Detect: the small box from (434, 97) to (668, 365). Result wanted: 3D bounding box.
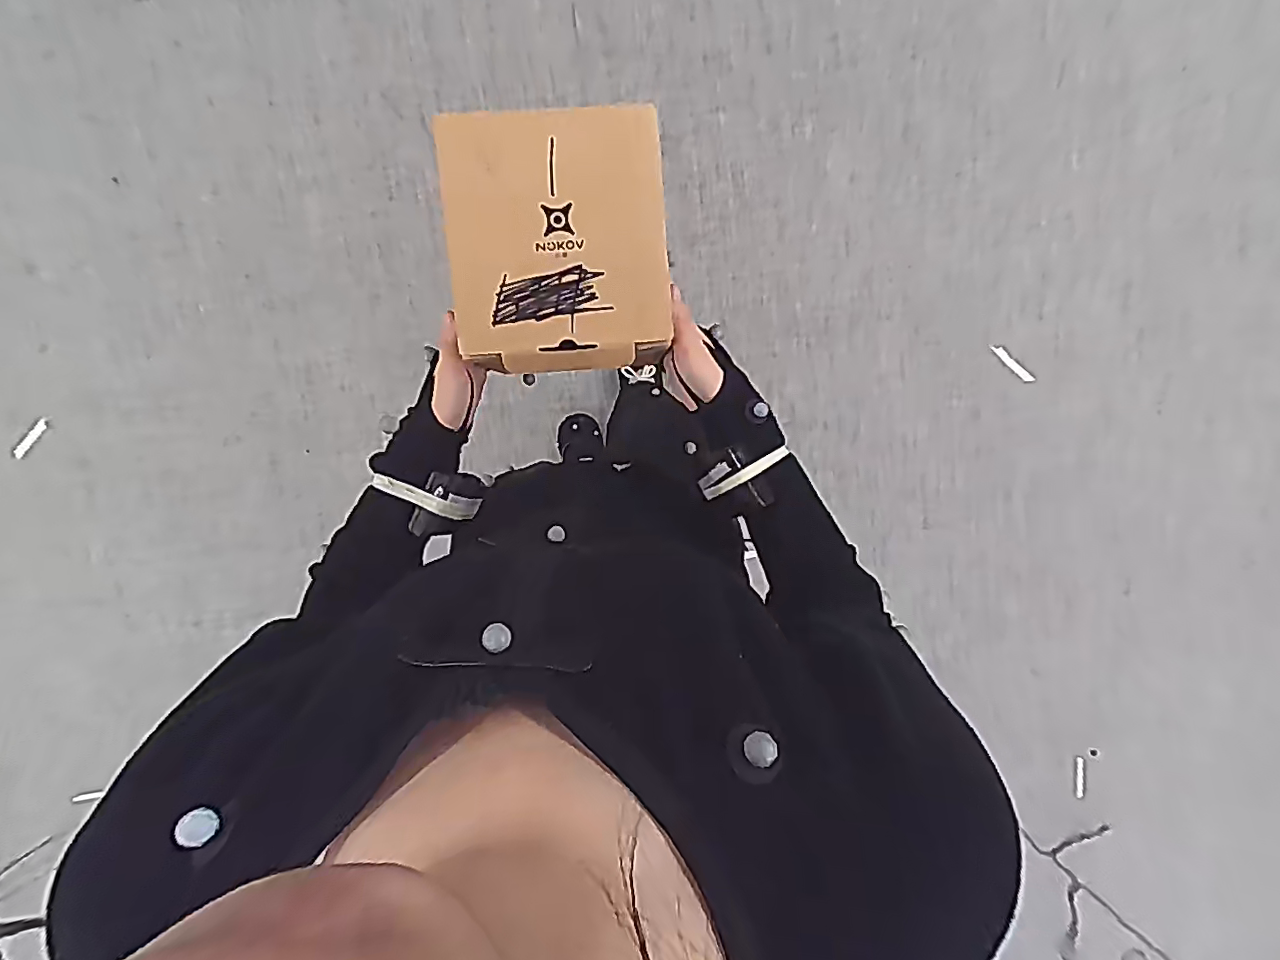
[{"bbox_3d":[-0.067,-0.198,0.481,0.168,0.176,0.179,-5,96,-3],"label":"small box"}]
